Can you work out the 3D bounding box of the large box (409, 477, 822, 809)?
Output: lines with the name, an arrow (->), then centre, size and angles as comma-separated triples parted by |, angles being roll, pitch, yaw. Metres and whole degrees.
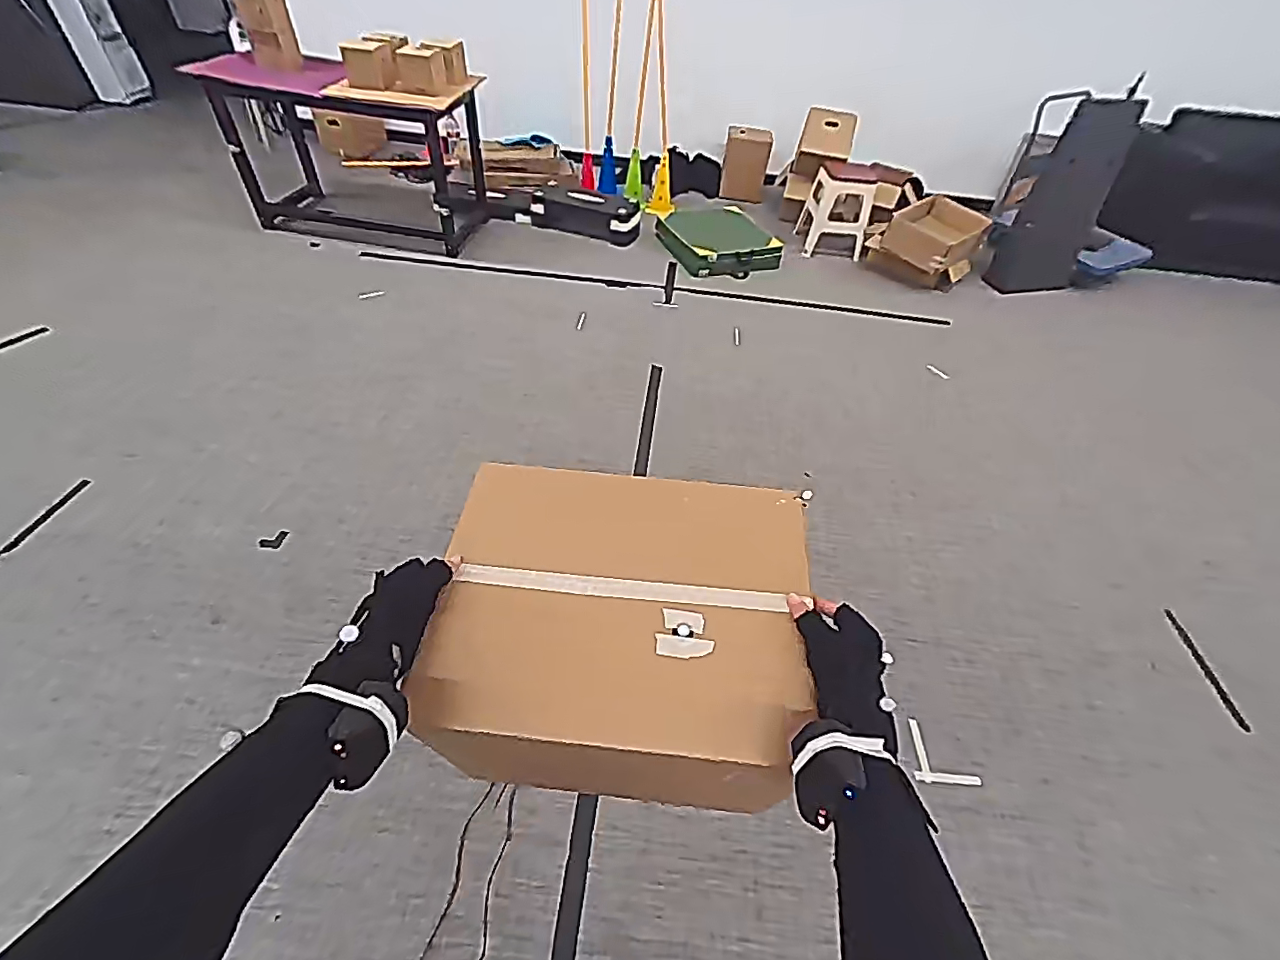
large box -> -0.019, 0.222, 0.716 | 0.408, 0.320, 0.320 | 5, 53, 2
